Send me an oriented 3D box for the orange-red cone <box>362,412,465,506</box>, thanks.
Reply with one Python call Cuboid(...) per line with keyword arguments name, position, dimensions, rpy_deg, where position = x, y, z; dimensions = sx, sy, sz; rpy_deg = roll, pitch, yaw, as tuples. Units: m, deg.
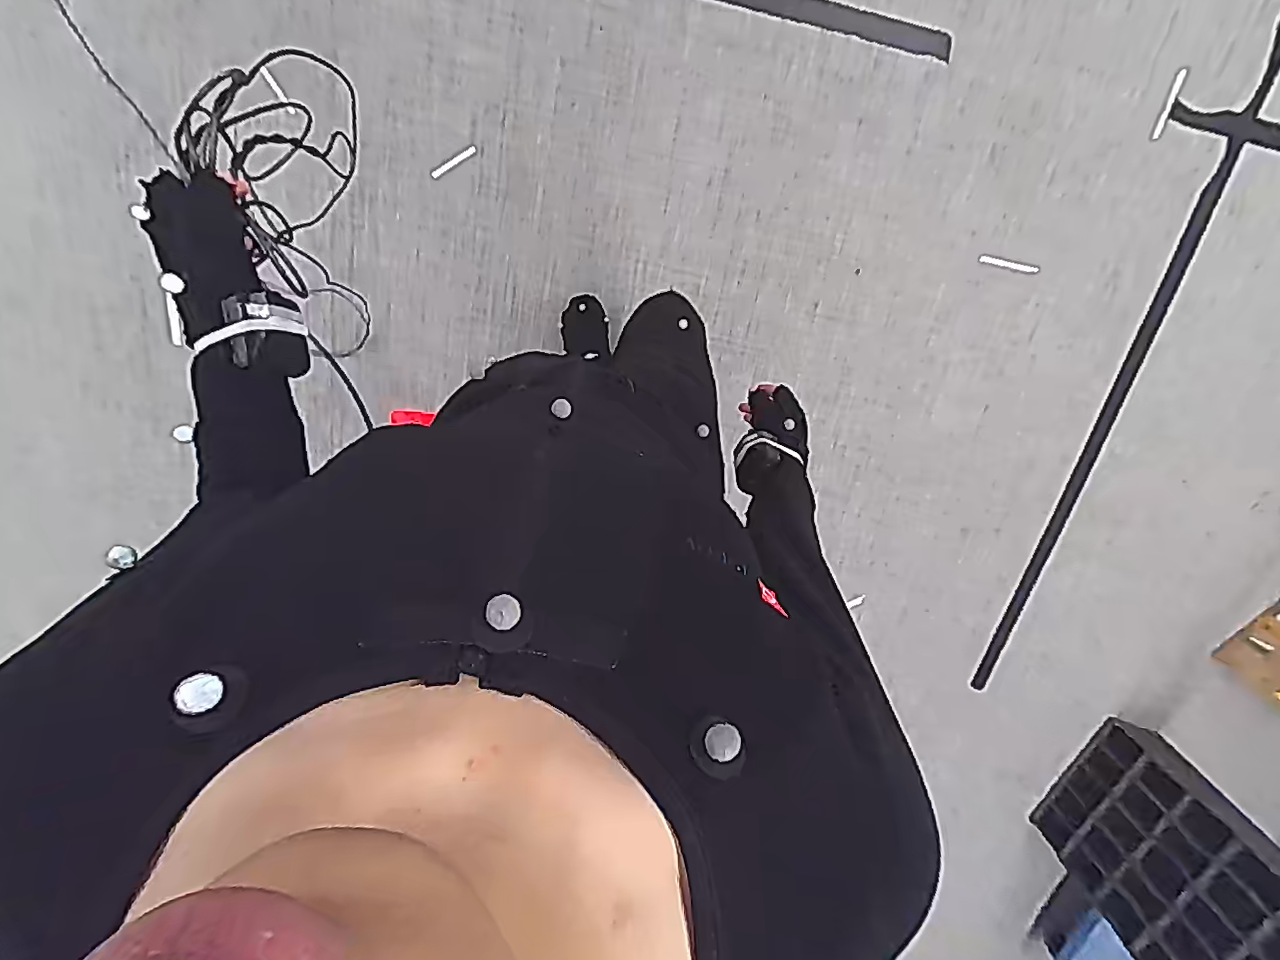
Cuboid(name="orange-red cone", position=(-0.564, -0.023, 1.287), dimensions=(0.199, 0.360, 0.198), rpy_deg=(6, 110, -4))
